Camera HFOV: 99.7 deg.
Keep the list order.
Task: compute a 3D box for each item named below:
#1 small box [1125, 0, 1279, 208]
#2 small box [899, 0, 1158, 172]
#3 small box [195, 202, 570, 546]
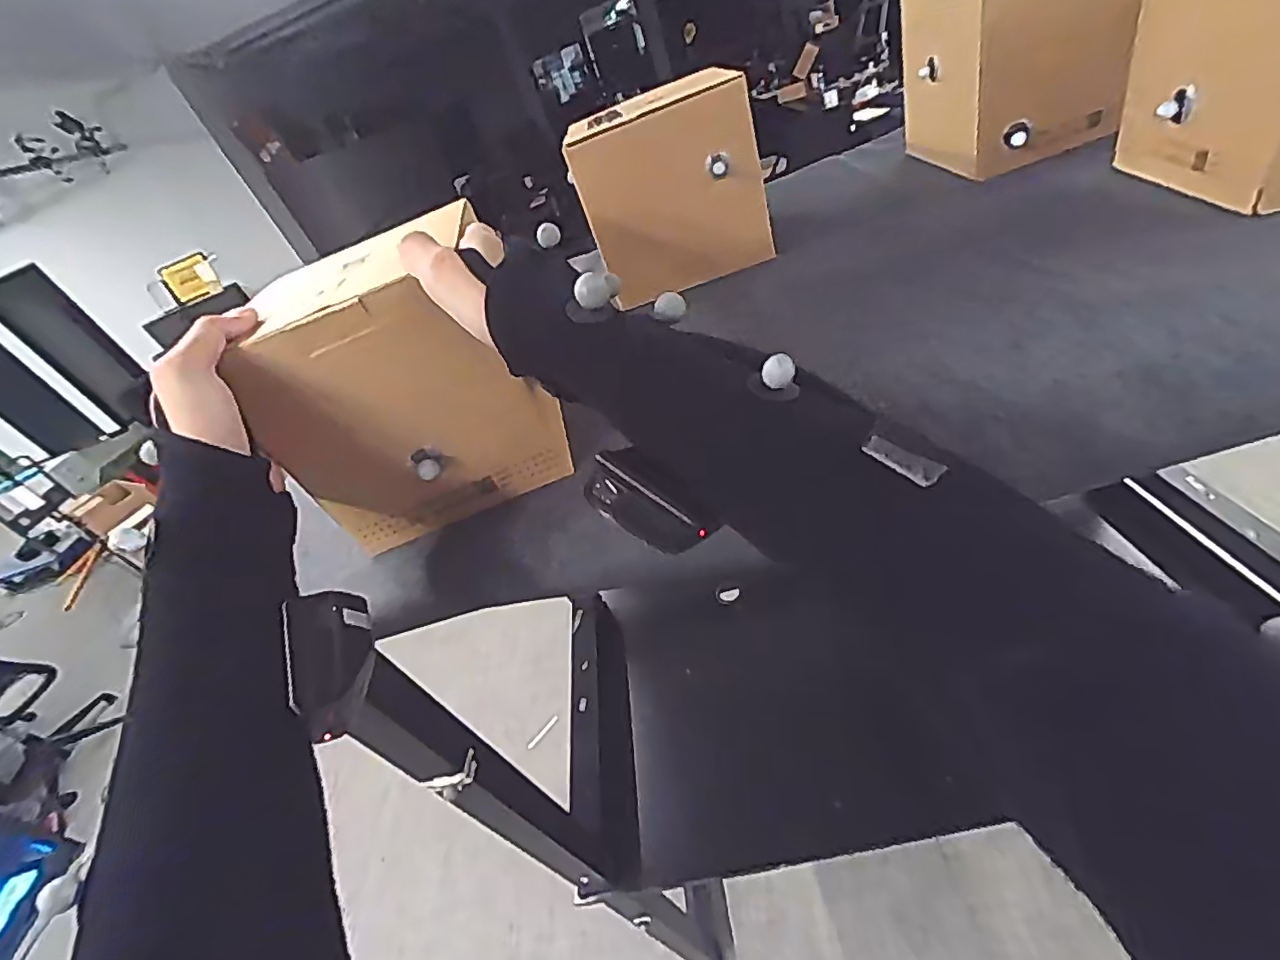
[{"bbox_3d":[0.453,-0.297,0.330,0.179,0.176,0.168,-12,37,18],"label":"small box"},{"bbox_3d":[0.380,-0.432,0.538,0.168,0.176,0.179,-16,37,11],"label":"small box"},{"bbox_3d":[-0.167,-0.082,0.414,0.168,0.176,0.179,-23,38,2],"label":"small box"}]
